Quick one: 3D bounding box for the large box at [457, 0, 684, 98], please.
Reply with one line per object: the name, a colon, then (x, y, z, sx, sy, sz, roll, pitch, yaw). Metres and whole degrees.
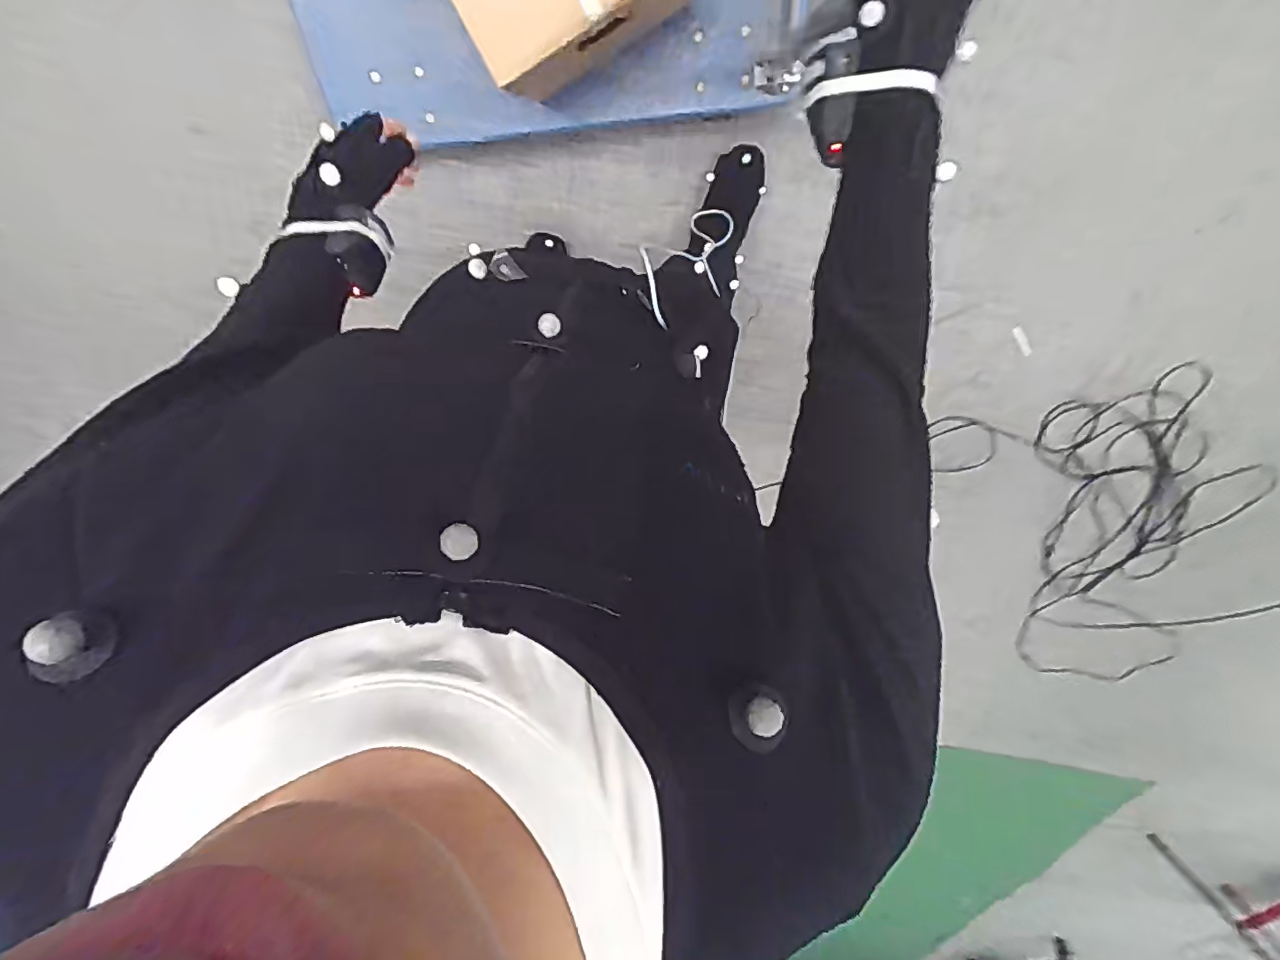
large box: (-0.144, -0.825, 0.734, 0.320, 0.320, 0.408, -24, 119, 16)
